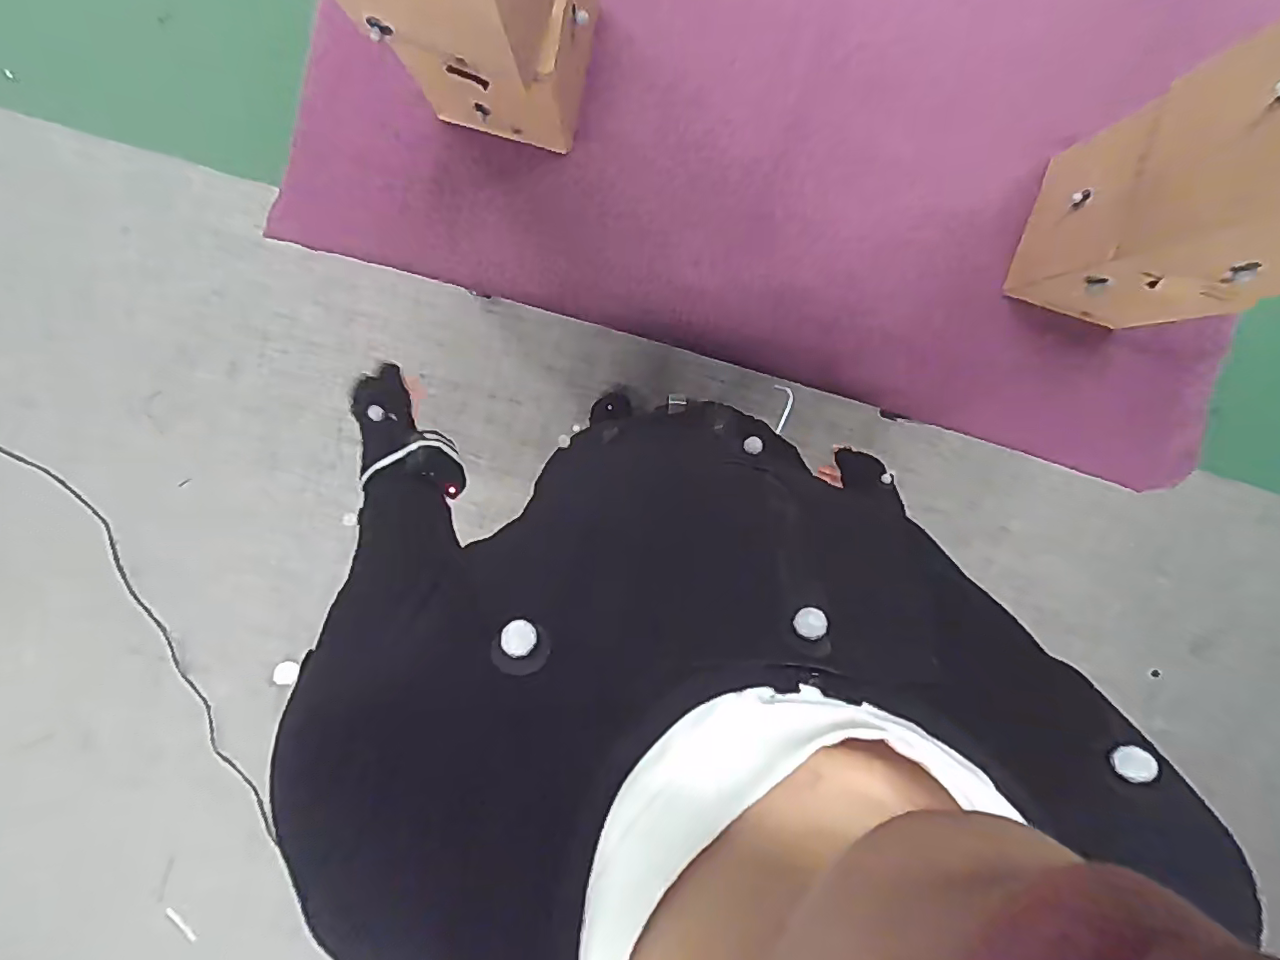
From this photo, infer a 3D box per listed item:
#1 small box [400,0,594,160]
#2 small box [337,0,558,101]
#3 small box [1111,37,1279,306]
[{"bbox_3d":[-0.147,-0.489,0.585,0.168,0.176,0.179,13,100,-4],"label":"small box"},{"bbox_3d":[-0.155,-0.449,0.425,0.168,0.176,0.179,18,98,-5],"label":"small box"},{"bbox_3d":[0.572,-0.269,0.468,0.168,0.176,0.179,13,98,-3],"label":"small box"}]
